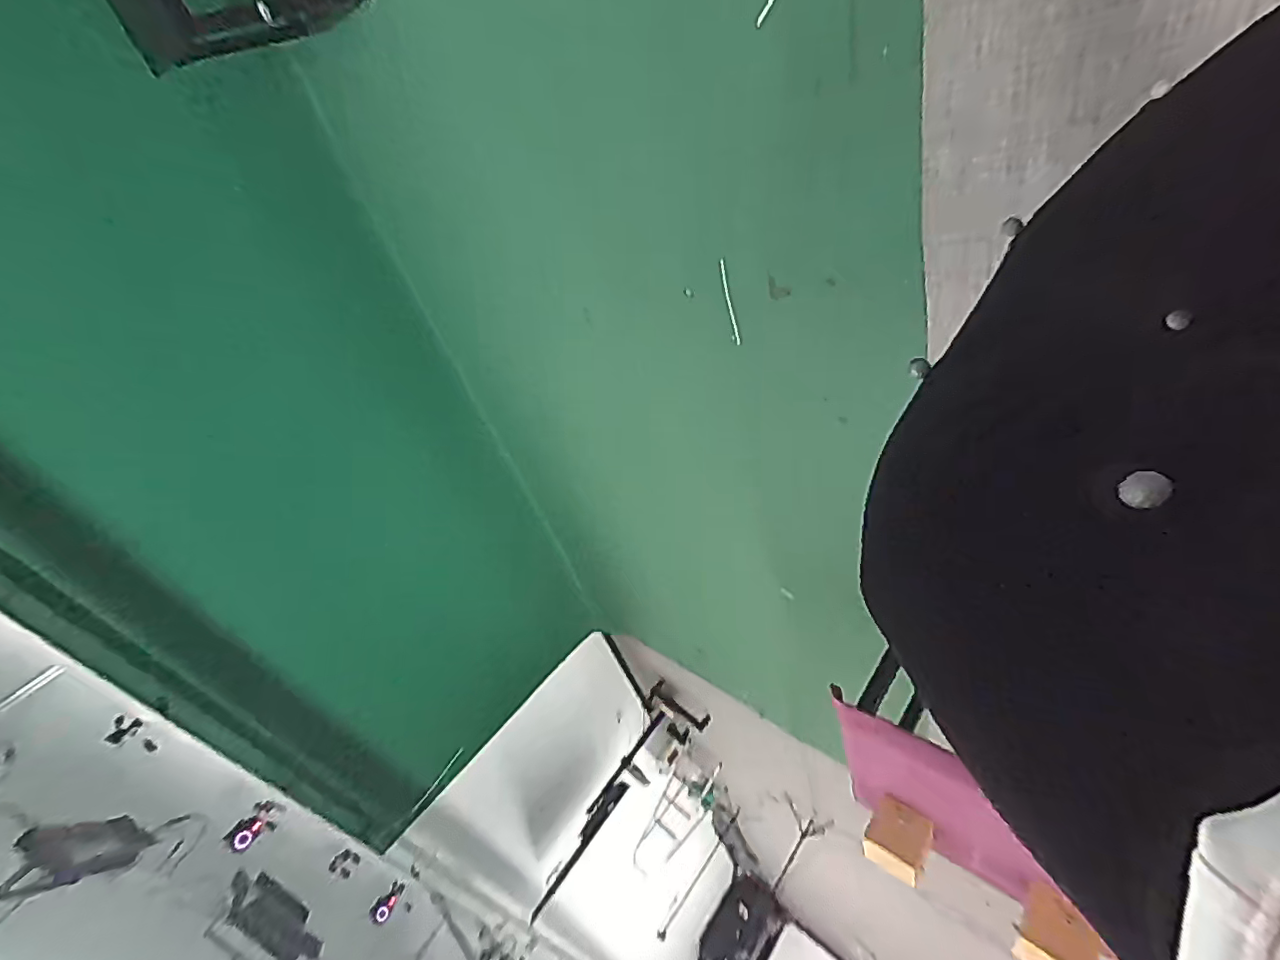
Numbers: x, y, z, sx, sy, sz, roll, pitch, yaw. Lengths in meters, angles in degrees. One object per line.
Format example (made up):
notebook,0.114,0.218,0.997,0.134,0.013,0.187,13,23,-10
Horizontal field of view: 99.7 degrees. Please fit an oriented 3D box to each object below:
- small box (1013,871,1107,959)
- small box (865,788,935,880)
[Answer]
small box,1.173,1.251,1.511,0.168,0.176,0.179,17,140,42
small box,0.872,1.179,1.809,0.168,0.176,0.179,15,139,40
